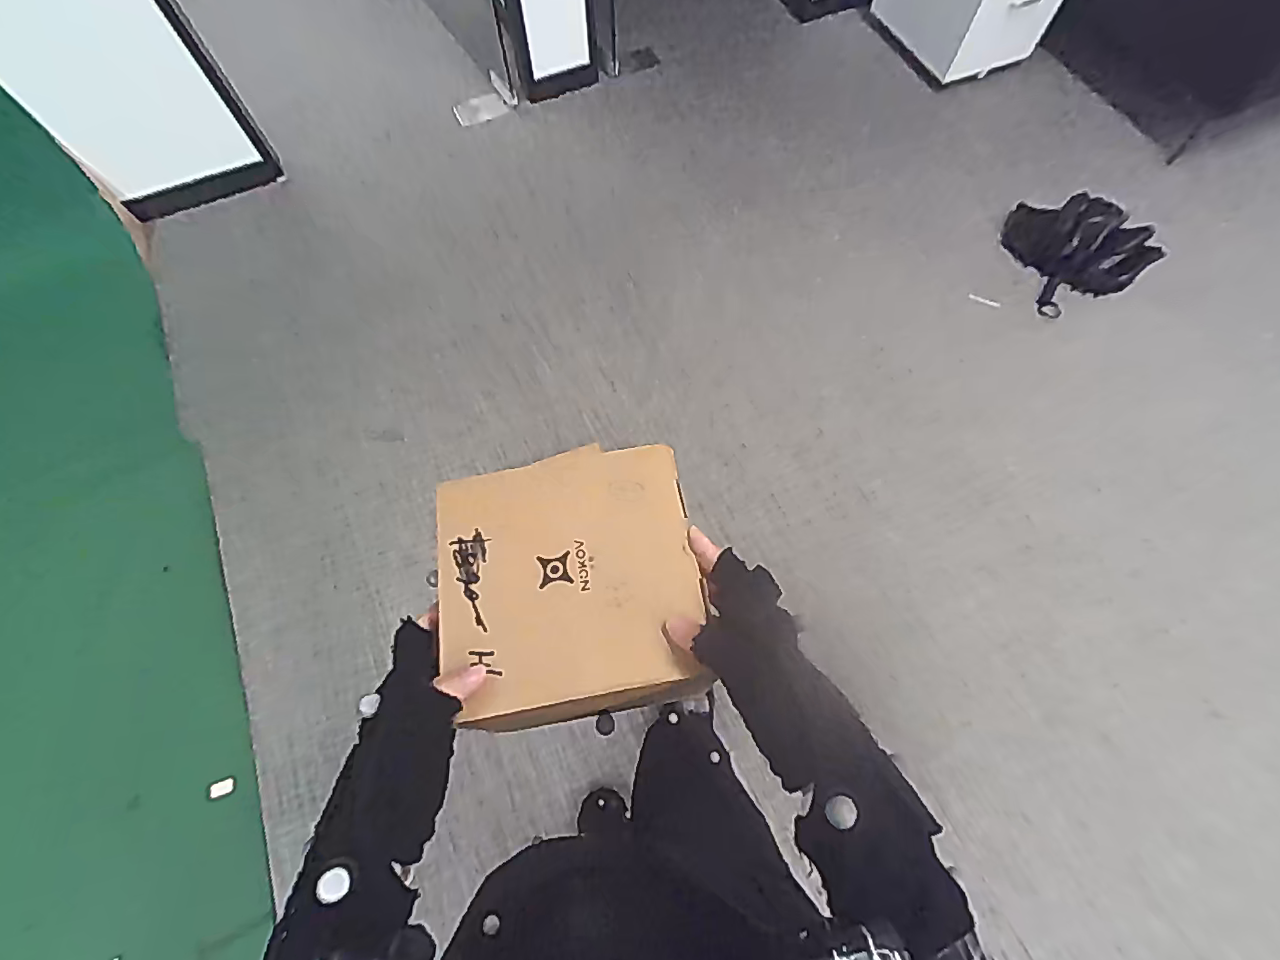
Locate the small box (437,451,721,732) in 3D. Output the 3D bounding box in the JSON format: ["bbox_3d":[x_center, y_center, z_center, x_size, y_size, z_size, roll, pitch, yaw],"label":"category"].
[{"bbox_3d":[-0.047,0.100,0.444,0.179,0.176,0.168,-13,64,-3],"label":"small box"}]

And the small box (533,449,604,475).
[{"bbox_3d":[-0.153,0.049,1.361,0.179,0.176,0.168,-19,68,-6],"label":"small box"}]
